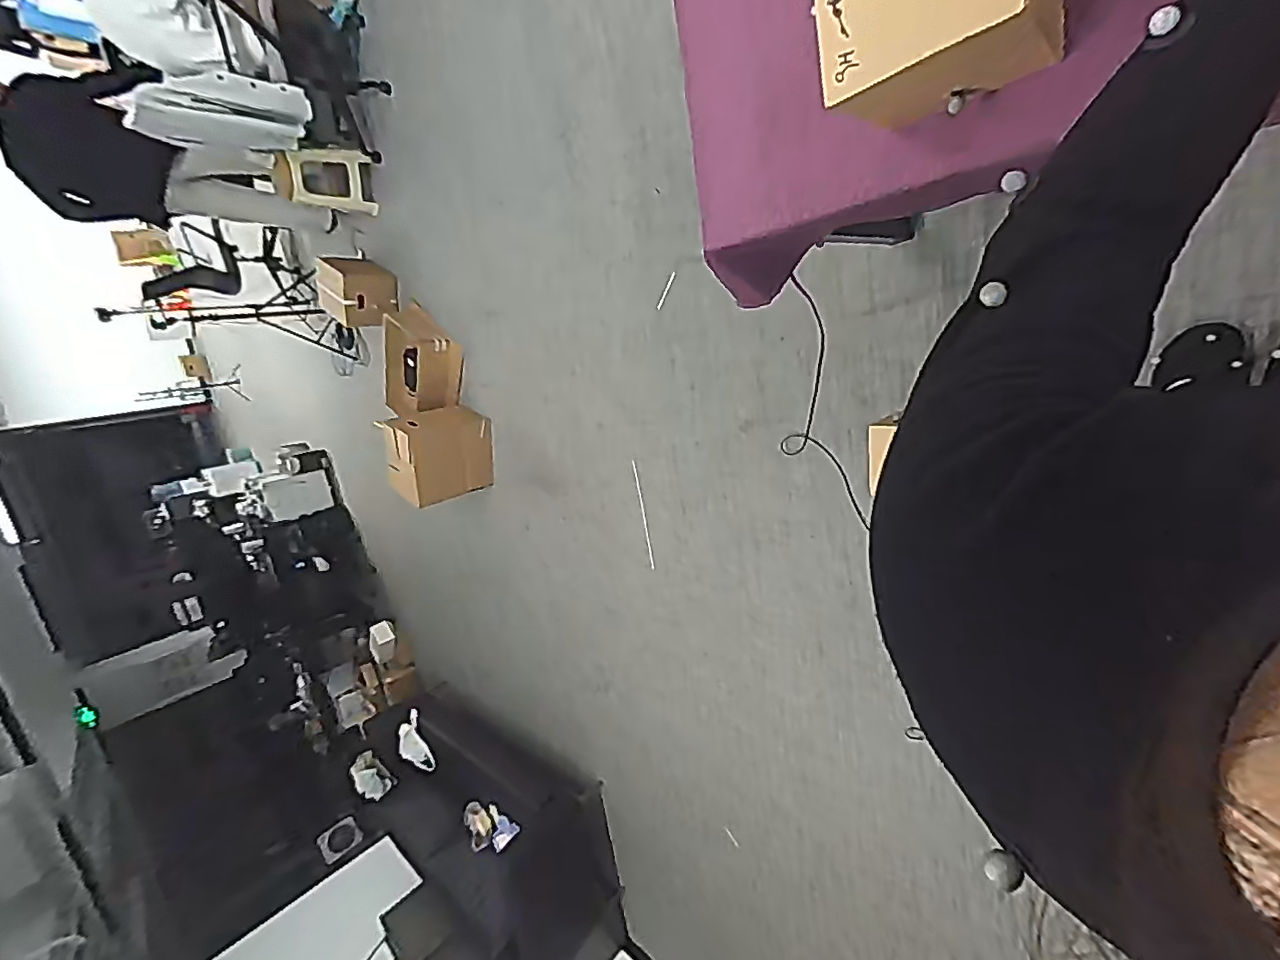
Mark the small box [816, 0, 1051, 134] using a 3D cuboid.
[{"bbox_3d":[0.295,-0.478,0.539,0.179,0.176,0.168,2,107,44],"label":"small box"}]

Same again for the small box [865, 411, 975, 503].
[{"bbox_3d":[0.626,-0.058,1.211,0.179,0.176,0.168,7,111,43],"label":"small box"}]
